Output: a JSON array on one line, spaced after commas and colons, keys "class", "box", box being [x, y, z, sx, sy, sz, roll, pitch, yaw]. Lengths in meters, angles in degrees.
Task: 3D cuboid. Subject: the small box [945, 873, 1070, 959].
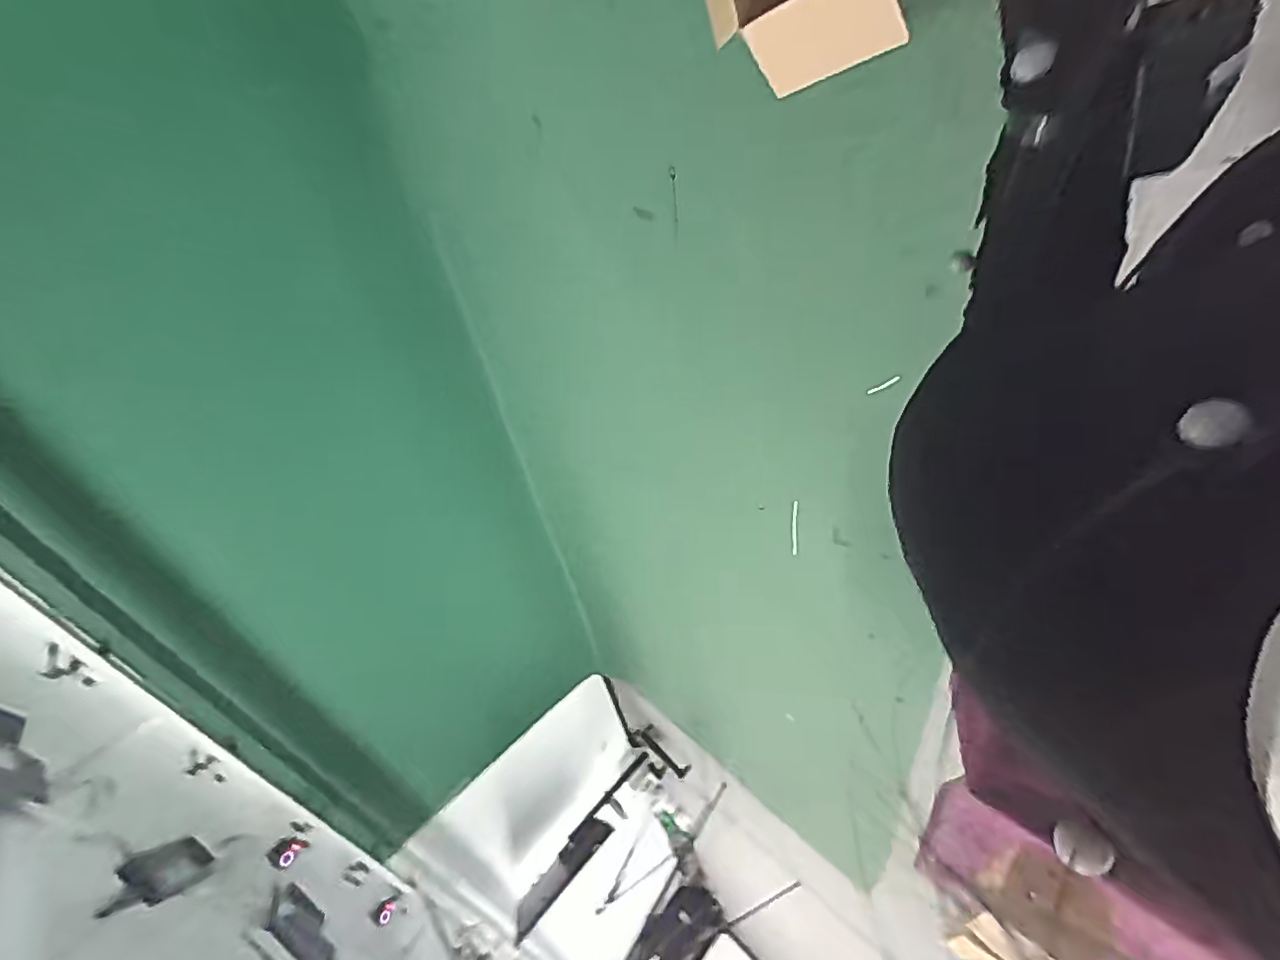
[{"class": "small box", "box": [0.841, 1.048, 1.238, 0.168, 0.176, 0.179, 33, 145, 34]}]
